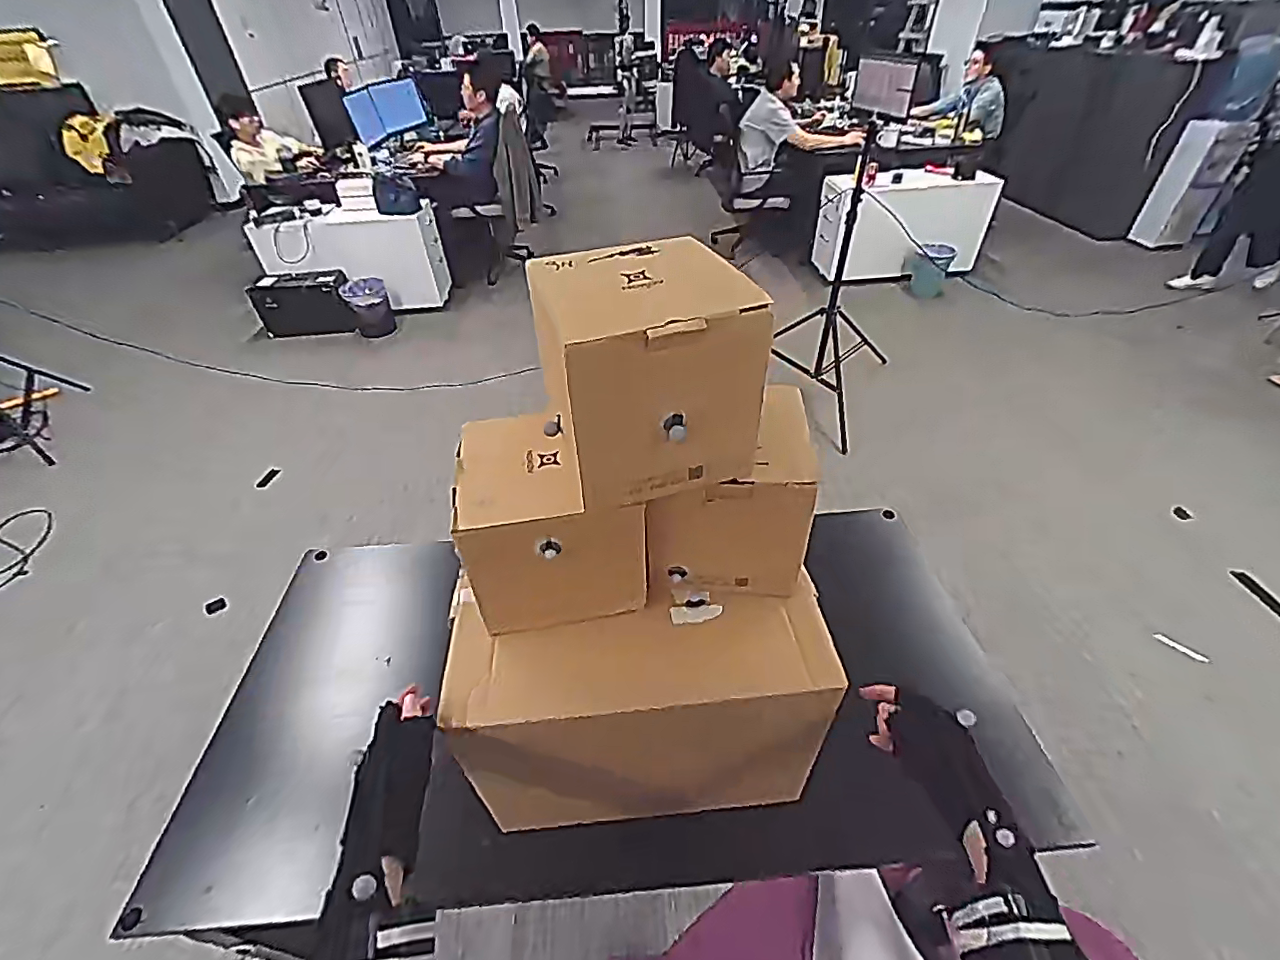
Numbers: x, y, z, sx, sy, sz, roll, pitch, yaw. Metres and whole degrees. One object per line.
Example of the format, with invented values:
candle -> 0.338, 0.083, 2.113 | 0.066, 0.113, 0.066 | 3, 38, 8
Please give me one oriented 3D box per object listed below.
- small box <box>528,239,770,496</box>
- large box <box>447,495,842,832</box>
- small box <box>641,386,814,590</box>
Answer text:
small box -> 0.002, -0.102, 0.505 | 0.168, 0.176, 0.179 | -13, 43, -12
large box -> -0.006, 0.234, 0.738 | 0.408, 0.320, 0.320 | -5, 42, -4
small box -> 0.095, 0.008, 0.623 | 0.168, 0.176, 0.179 | 2, 40, 6
